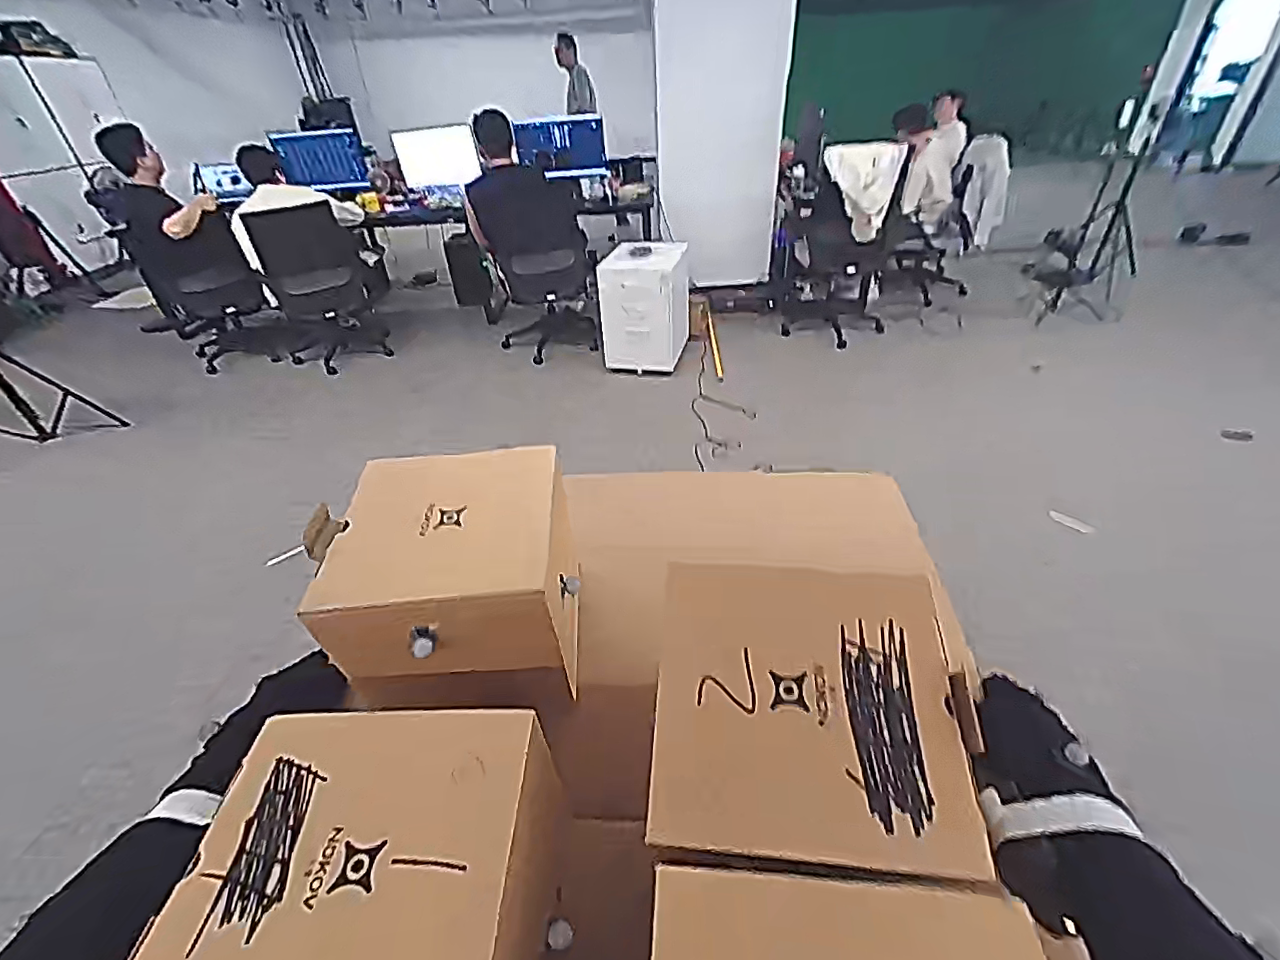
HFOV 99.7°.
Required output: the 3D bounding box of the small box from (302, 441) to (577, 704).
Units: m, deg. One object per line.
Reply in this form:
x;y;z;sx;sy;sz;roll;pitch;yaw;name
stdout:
-0.154;0.086;0.496;0.179;0.176;0.168;-6;42;0;small box
